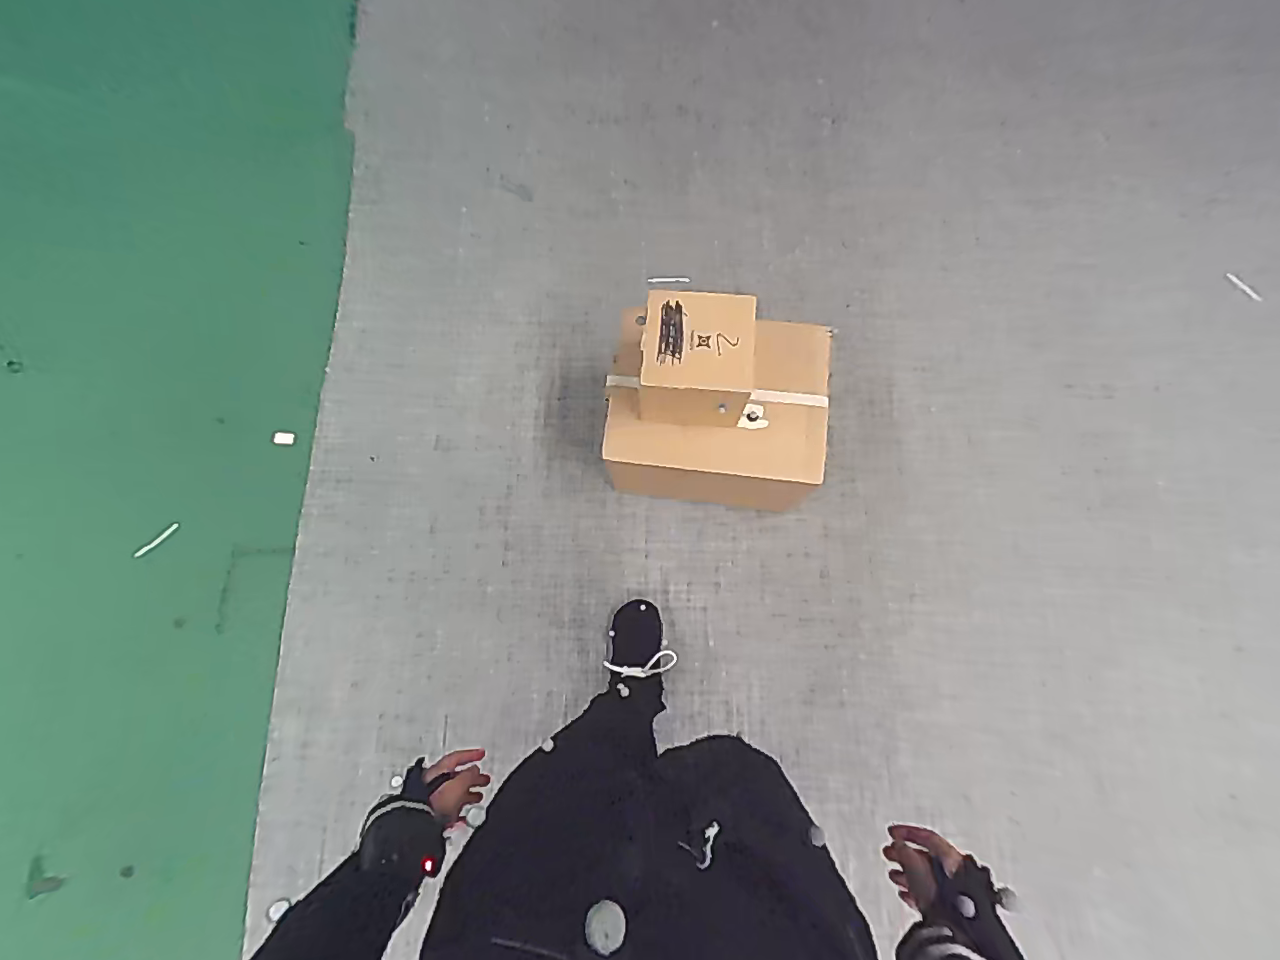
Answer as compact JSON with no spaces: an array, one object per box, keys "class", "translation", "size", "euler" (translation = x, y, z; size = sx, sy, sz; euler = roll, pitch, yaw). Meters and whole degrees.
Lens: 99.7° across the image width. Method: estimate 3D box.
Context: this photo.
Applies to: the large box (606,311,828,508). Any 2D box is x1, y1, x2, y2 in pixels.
[{"class":"large box","translation":[0.150,-0.130,1.154],"size":[0.408,0.320,0.320],"euler":[6,78,3]}]
